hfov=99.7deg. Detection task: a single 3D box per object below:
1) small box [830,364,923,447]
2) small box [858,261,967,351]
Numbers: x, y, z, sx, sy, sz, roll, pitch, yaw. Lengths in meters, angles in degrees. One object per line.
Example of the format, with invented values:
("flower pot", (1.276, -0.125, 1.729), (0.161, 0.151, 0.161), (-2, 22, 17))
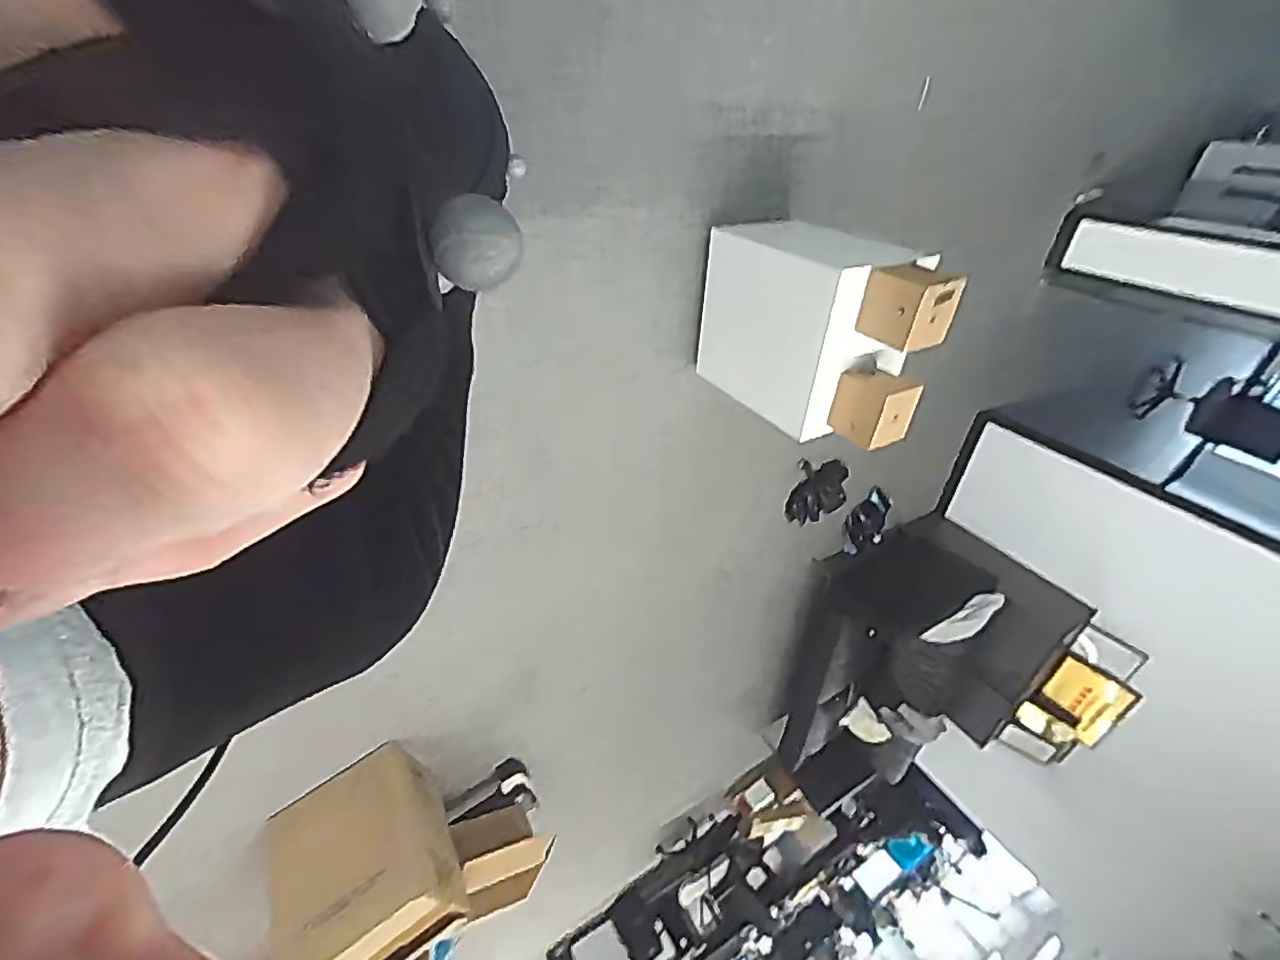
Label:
("small box", (0.690, -0.224, 1.599), (0.168, 0.176, 0.179), (-18, 129, -27))
("small box", (0.709, -0.466, 1.425), (0.168, 0.176, 0.179), (-19, 133, -24))
